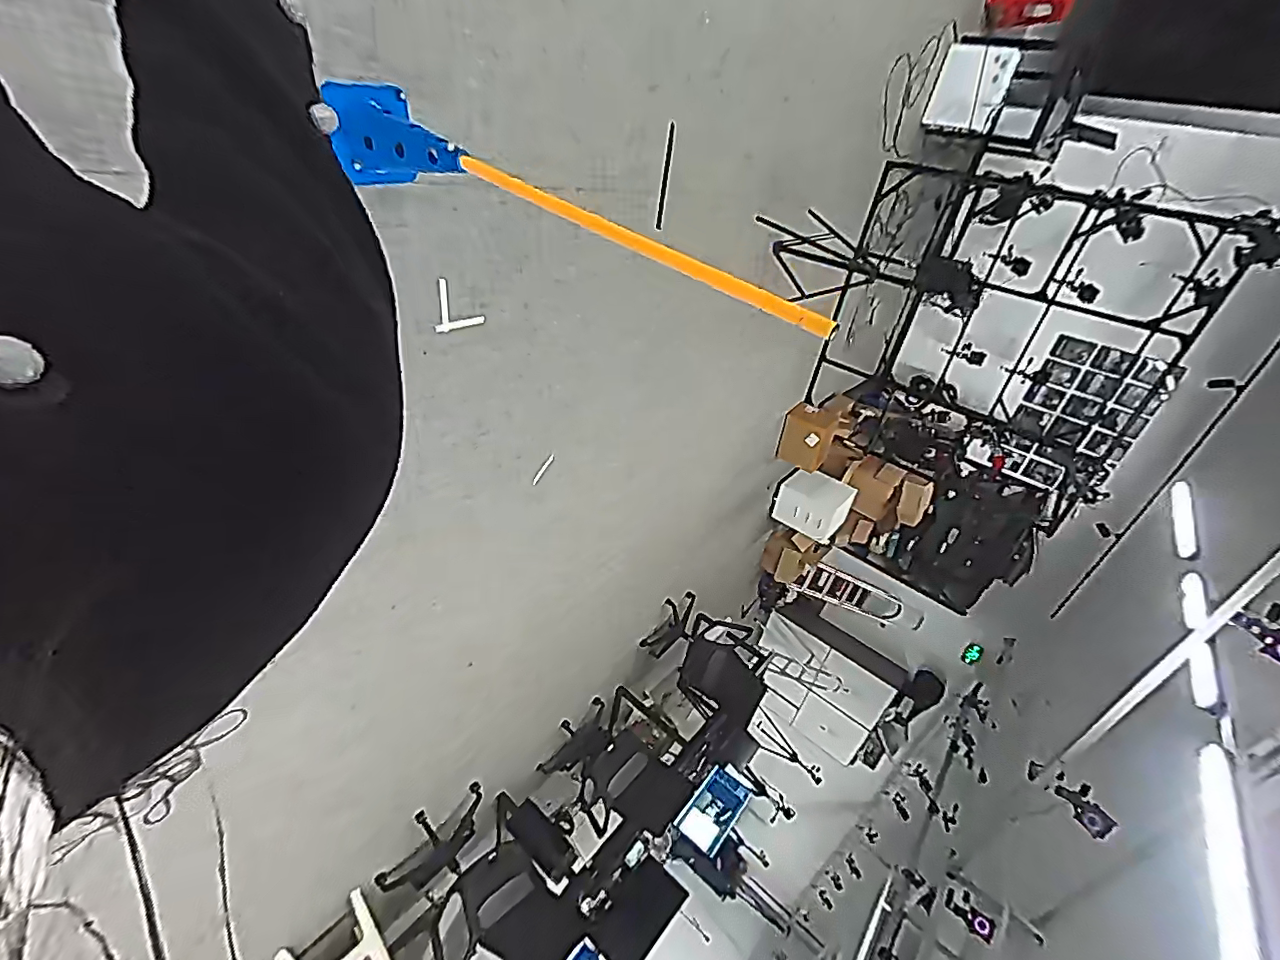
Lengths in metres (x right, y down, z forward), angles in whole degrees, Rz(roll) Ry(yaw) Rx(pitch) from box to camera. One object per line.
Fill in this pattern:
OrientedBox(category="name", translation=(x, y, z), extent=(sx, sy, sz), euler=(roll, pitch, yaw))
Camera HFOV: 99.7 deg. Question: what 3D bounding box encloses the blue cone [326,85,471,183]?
OrientedBox(category="blue cone", translation=(-0.498, -0.736, 1.189), extent=(0.193, 0.380, 0.192), euler=(-32, 140, -41))
